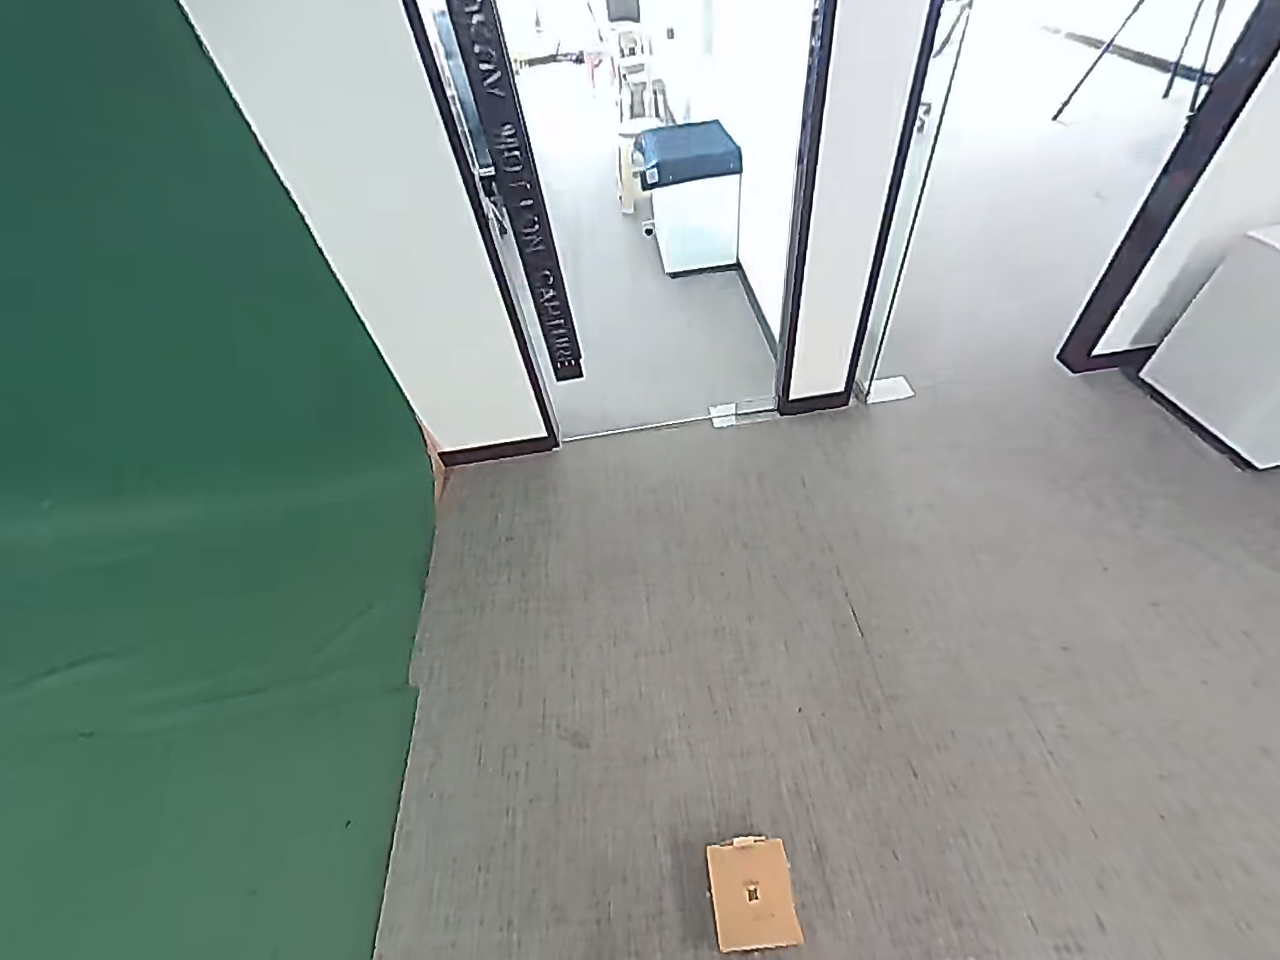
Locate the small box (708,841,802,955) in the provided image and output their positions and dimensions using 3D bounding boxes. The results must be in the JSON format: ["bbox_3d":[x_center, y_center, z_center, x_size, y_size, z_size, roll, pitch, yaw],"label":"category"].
[{"bbox_3d":[0.237,0.889,1.147,0.168,0.176,0.179,-7,49,5],"label":"small box"}]
